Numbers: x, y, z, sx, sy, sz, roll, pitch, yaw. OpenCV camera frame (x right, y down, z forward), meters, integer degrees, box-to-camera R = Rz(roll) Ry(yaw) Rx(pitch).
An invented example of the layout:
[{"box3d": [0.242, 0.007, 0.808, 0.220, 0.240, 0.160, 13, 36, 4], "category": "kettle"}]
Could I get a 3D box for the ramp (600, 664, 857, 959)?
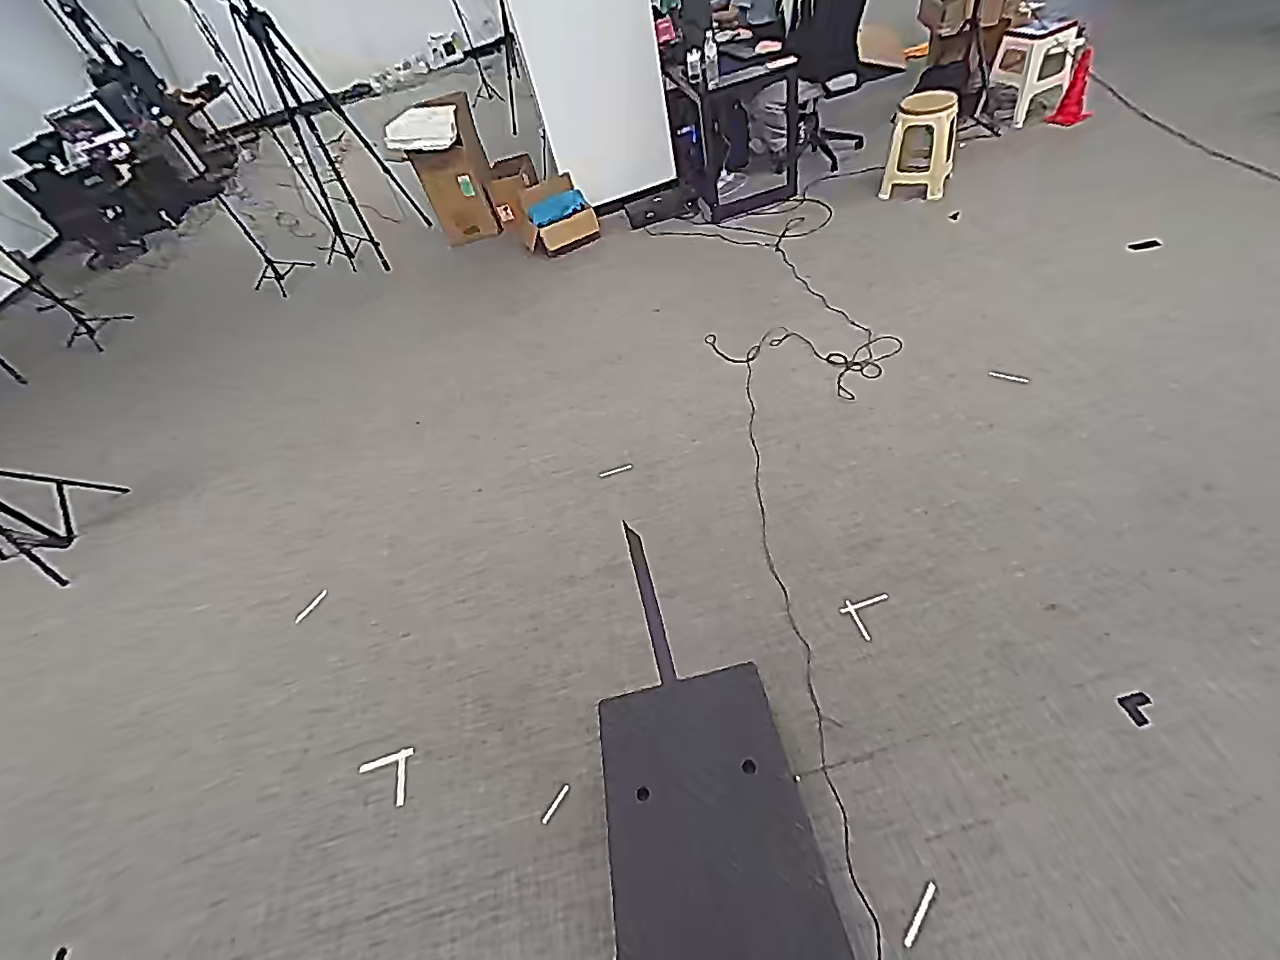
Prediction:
[{"box3d": [0.173, 0.911, 1.236, 0.509, 0.206, 0.991, -18, 47, 2], "category": "ramp"}]
